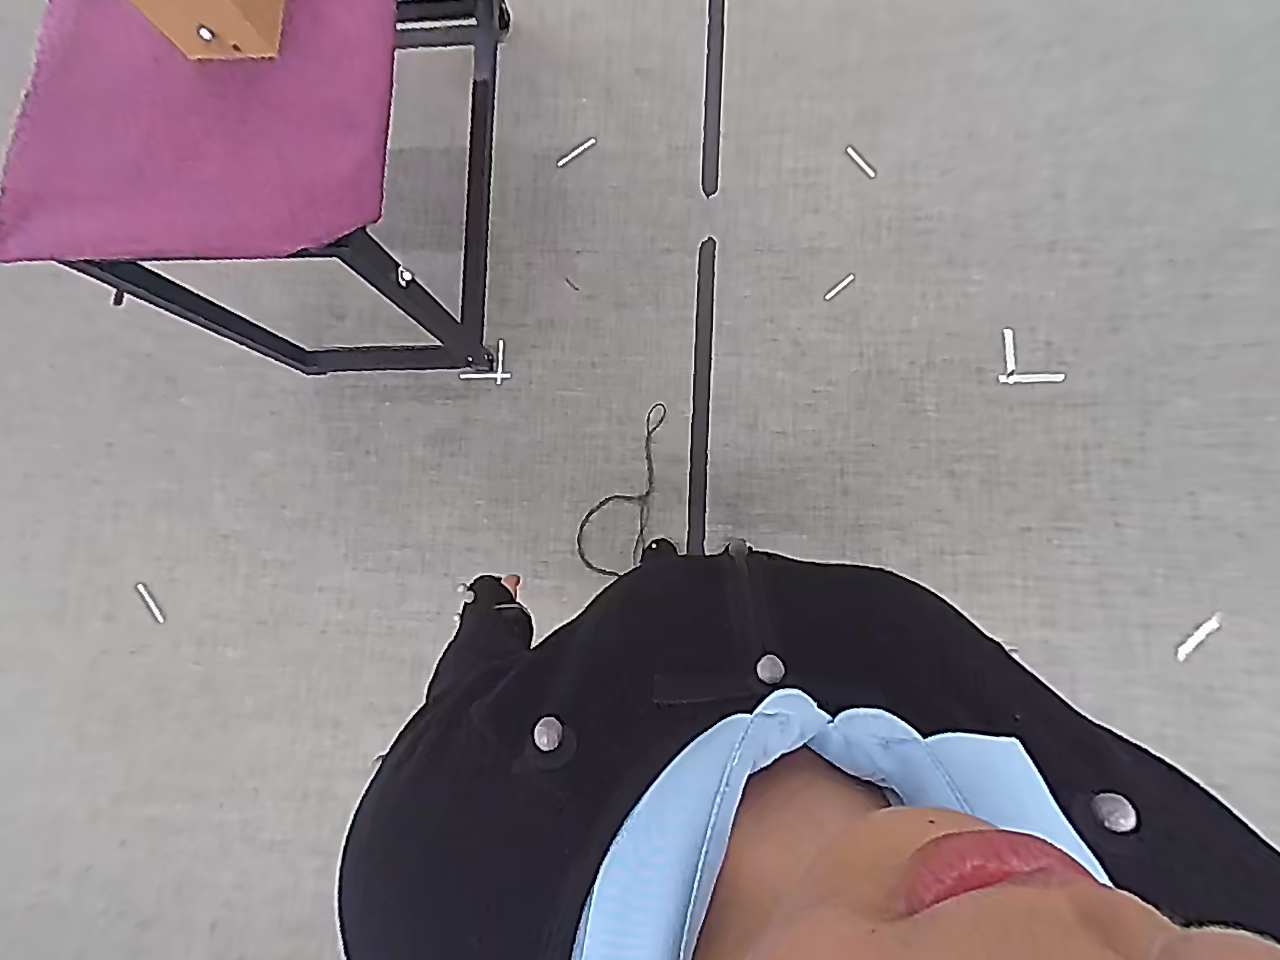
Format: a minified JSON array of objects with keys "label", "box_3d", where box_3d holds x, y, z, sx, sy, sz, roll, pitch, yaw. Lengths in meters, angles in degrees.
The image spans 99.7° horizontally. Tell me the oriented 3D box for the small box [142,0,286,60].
[{"label":"small box","box_3d":[-0.704,-0.826,0.867,0.168,0.176,0.179,2,84,5]}]
